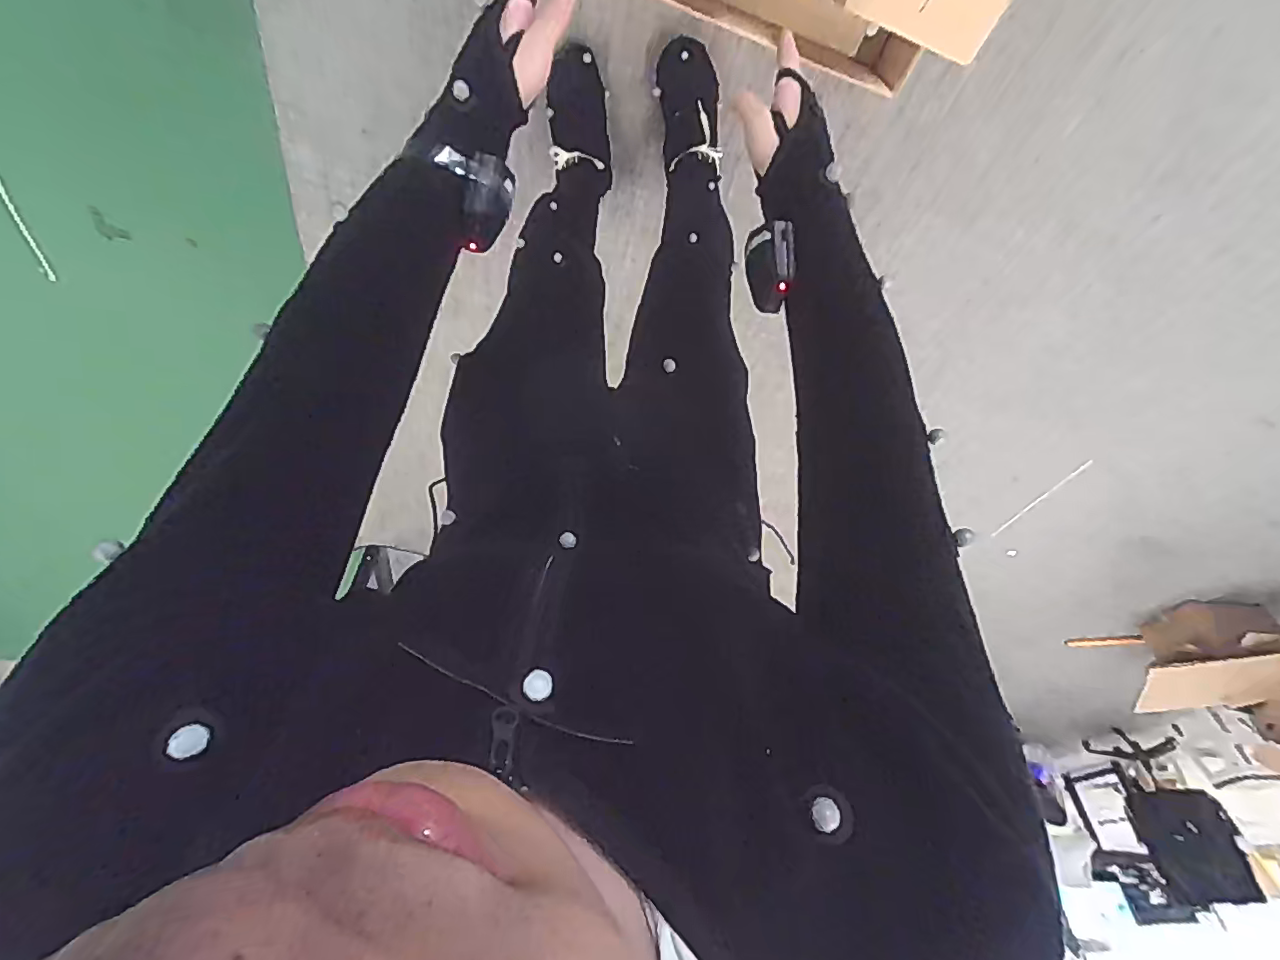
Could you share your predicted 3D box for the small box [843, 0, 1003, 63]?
[{"bbox_3d":[0.324,-0.612,0.595,0.168,0.176,0.179,14,139,-12],"label":"small box"}]
